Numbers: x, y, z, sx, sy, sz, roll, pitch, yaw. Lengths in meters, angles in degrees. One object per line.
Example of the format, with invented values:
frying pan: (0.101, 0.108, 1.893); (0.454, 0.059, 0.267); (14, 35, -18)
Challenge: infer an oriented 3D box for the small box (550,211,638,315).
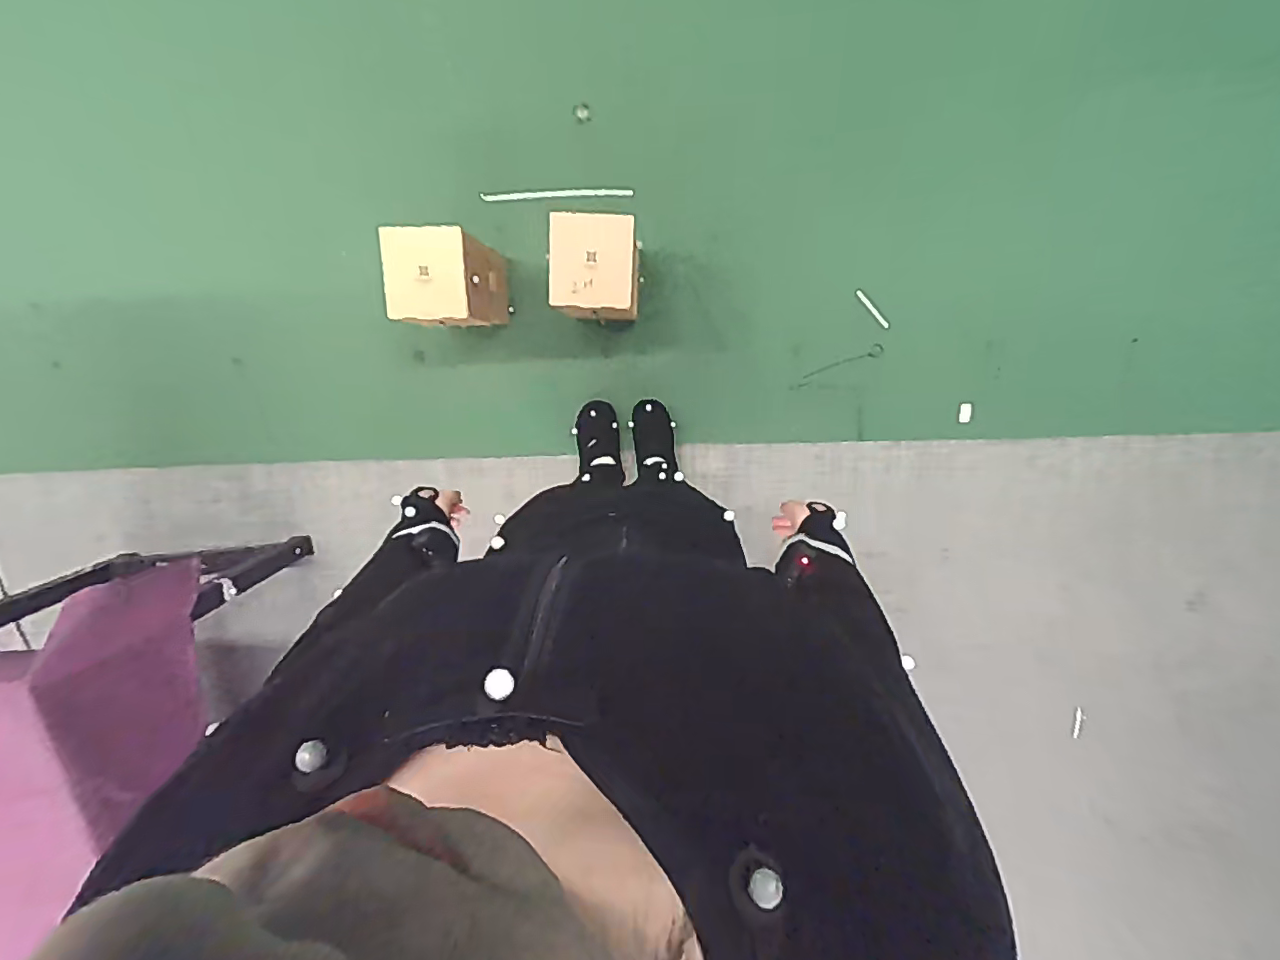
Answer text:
small box: (-0.092, -0.448, 1.138); (0.168, 0.176, 0.179); (4, 104, 1)

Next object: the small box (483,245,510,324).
small box: (-0.420, -0.470, 1.313); (0.179, 0.176, 0.168); (0, 103, 3)

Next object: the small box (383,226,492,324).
small box: (-0.424, -0.430, 1.155); (0.168, 0.176, 0.179); (0, 103, 2)
